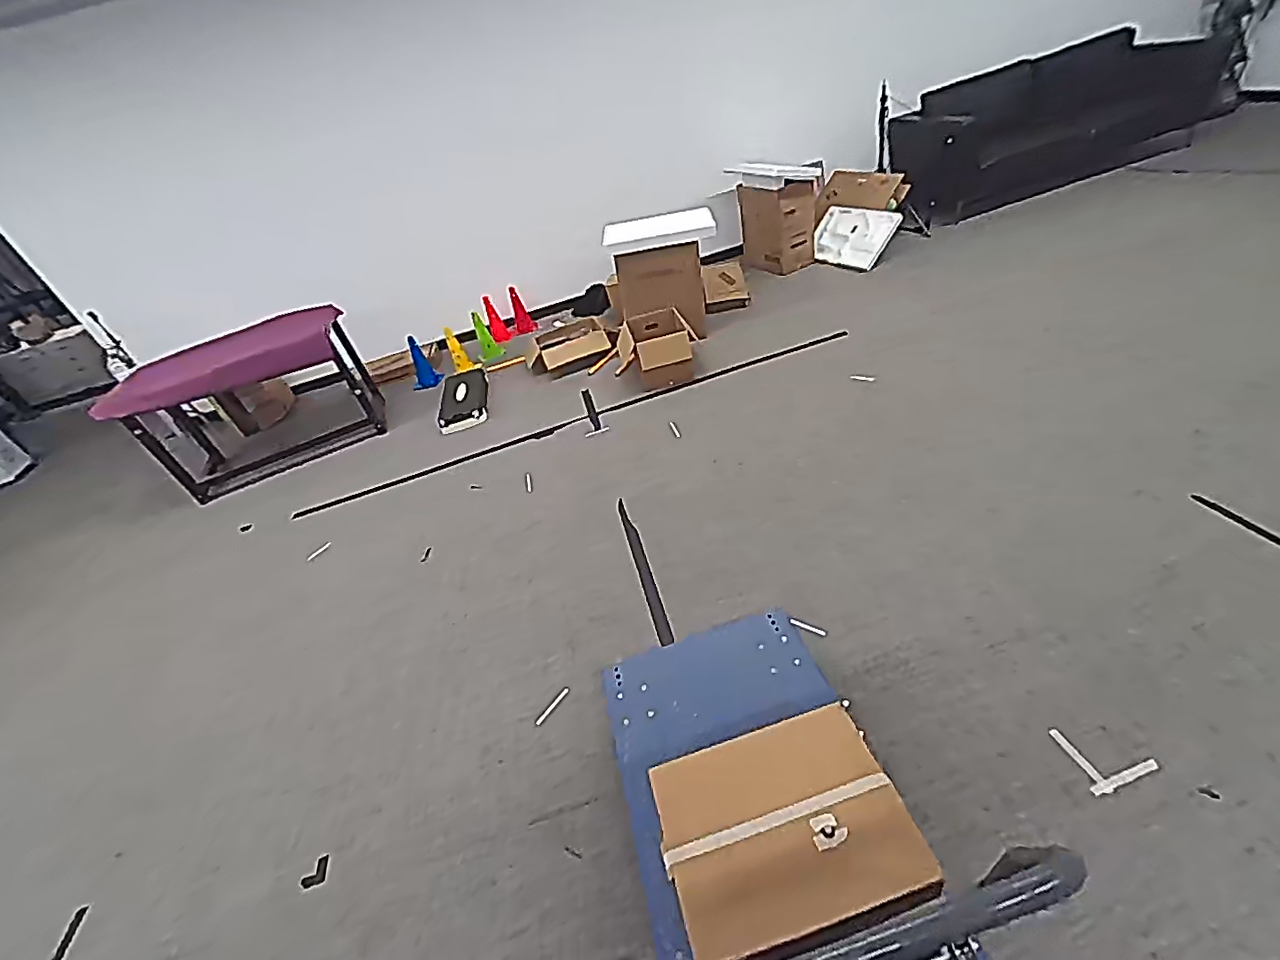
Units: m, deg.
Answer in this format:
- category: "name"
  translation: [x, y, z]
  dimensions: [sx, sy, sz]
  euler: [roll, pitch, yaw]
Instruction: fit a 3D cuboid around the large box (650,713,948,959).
- category: "large box"
  translation: [0.269, 0.710, 0.997]
  dimensions: [0.408, 0.320, 0.320]
  euler: [-17, 37, -4]
